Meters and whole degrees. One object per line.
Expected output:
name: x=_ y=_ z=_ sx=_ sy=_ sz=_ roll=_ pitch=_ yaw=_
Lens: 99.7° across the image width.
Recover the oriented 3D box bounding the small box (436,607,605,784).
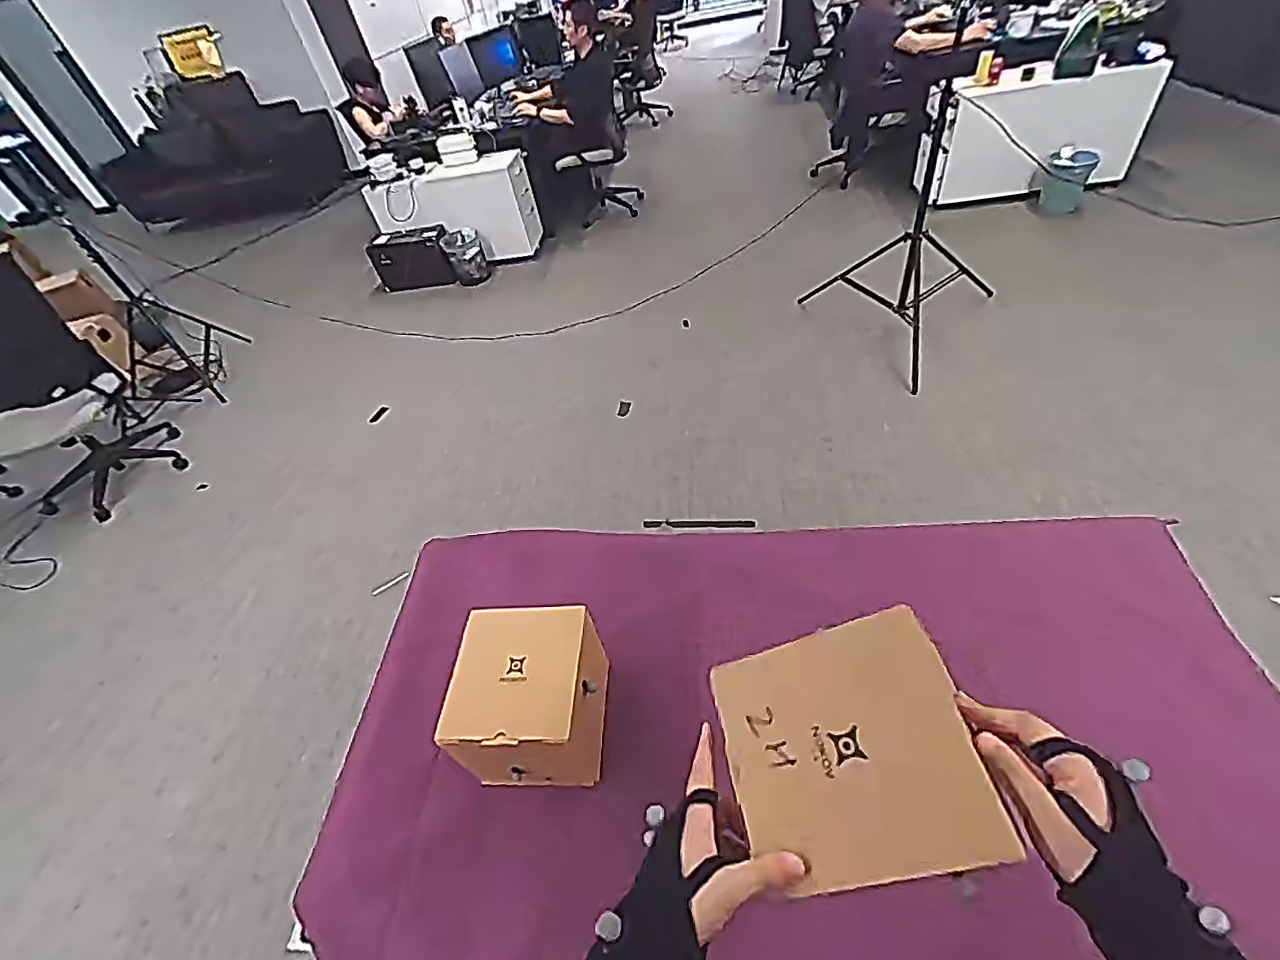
small box: x=-0.146 y=0.293 z=0.736 sx=0.168 sy=0.176 sz=0.179 roll=-4 pitch=47 yaw=7
